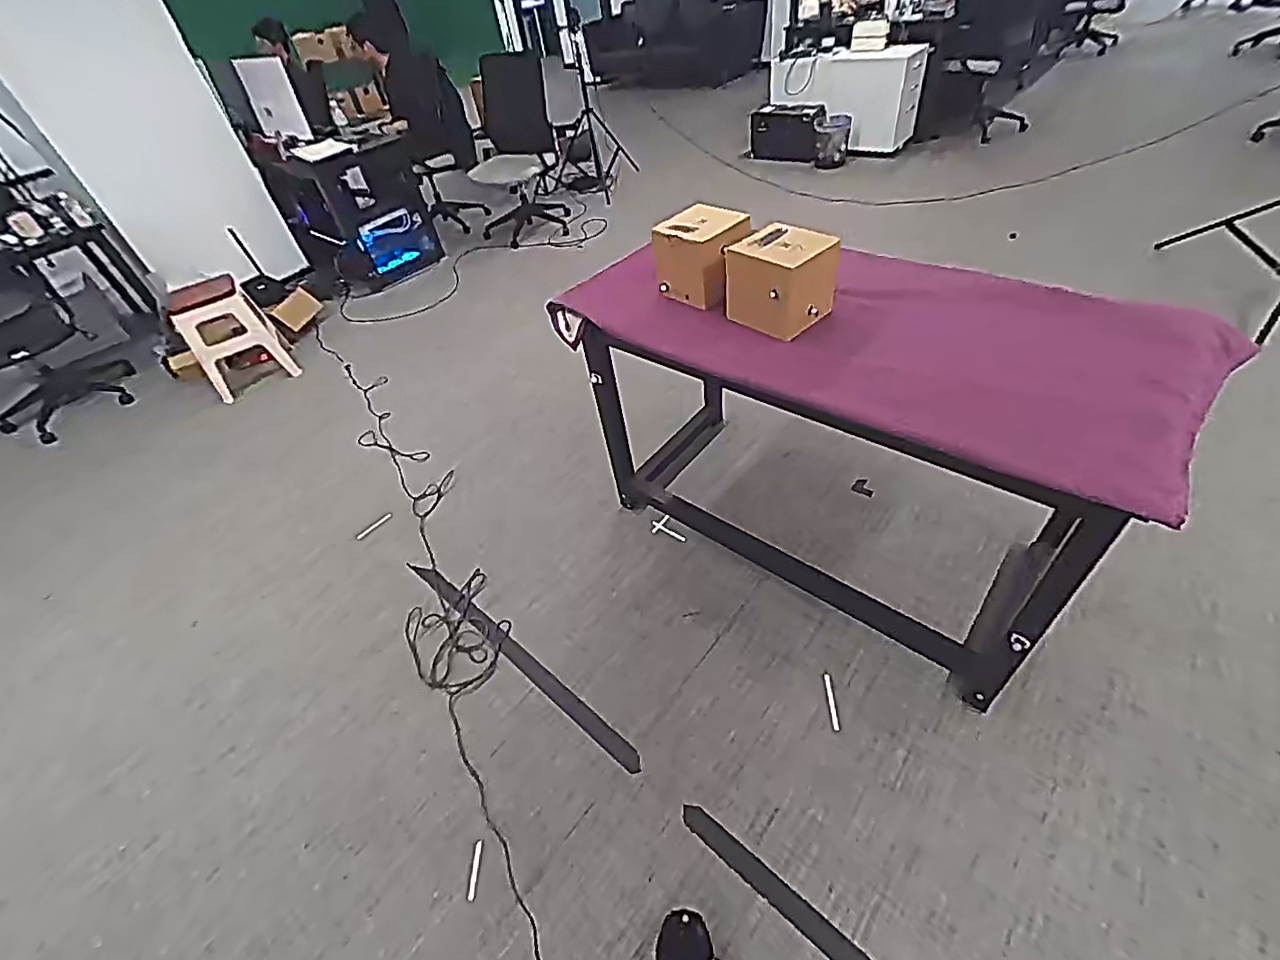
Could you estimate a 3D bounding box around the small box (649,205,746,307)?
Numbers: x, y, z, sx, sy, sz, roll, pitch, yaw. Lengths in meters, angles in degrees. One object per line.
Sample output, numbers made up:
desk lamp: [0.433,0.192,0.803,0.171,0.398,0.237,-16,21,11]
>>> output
small box: [0.149,-0.553,1.340,0.179,0.176,0.168,-38,52,-25]
